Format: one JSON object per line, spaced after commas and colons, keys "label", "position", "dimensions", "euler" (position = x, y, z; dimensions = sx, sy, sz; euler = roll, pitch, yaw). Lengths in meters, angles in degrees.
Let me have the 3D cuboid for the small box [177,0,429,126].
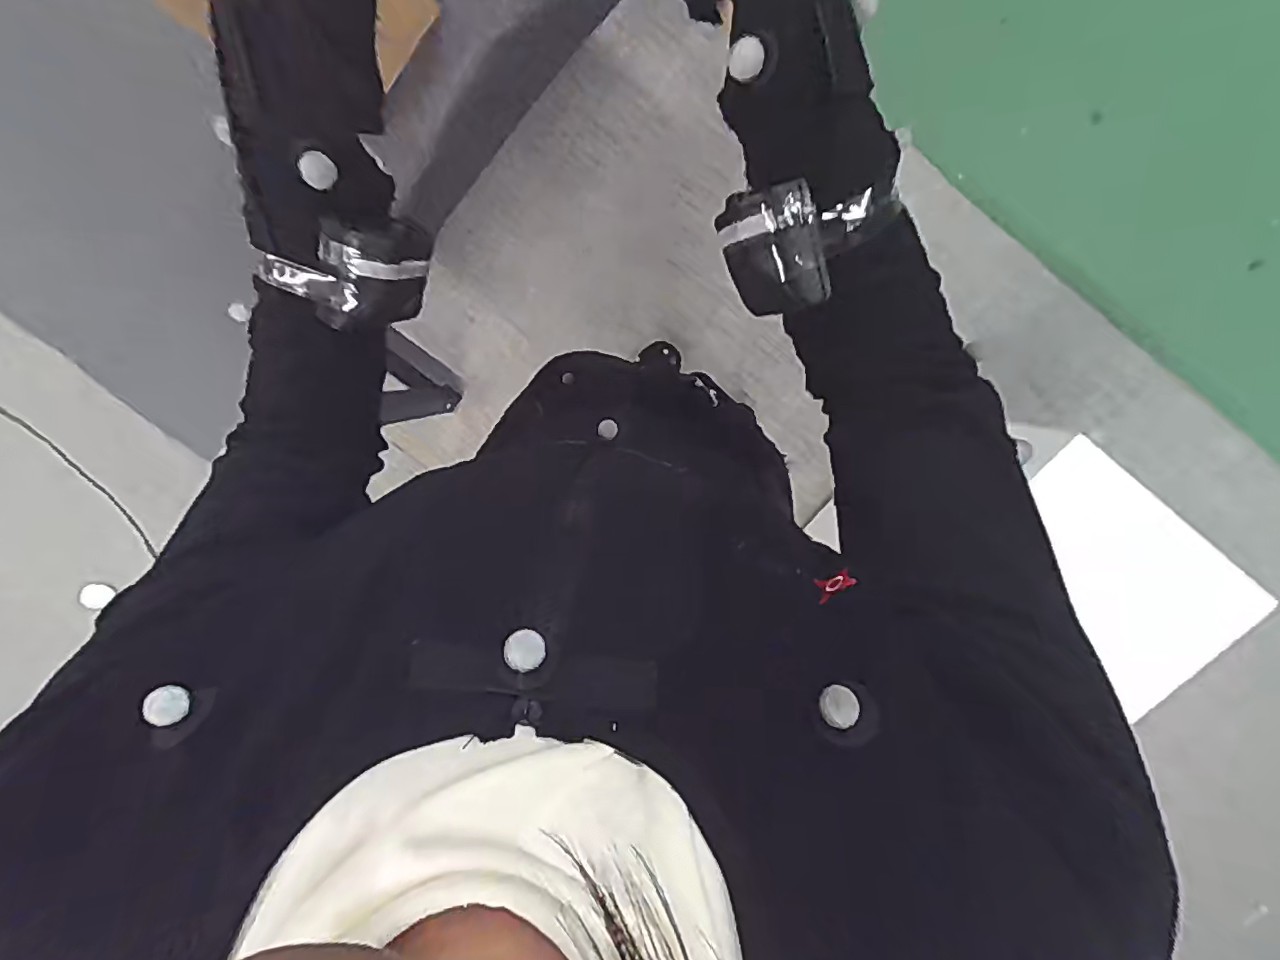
{"label": "small box", "position": [-0.344, -0.499, 0.528], "dimensions": [0.168, 0.176, 0.179], "euler": [41, 103, -4]}
